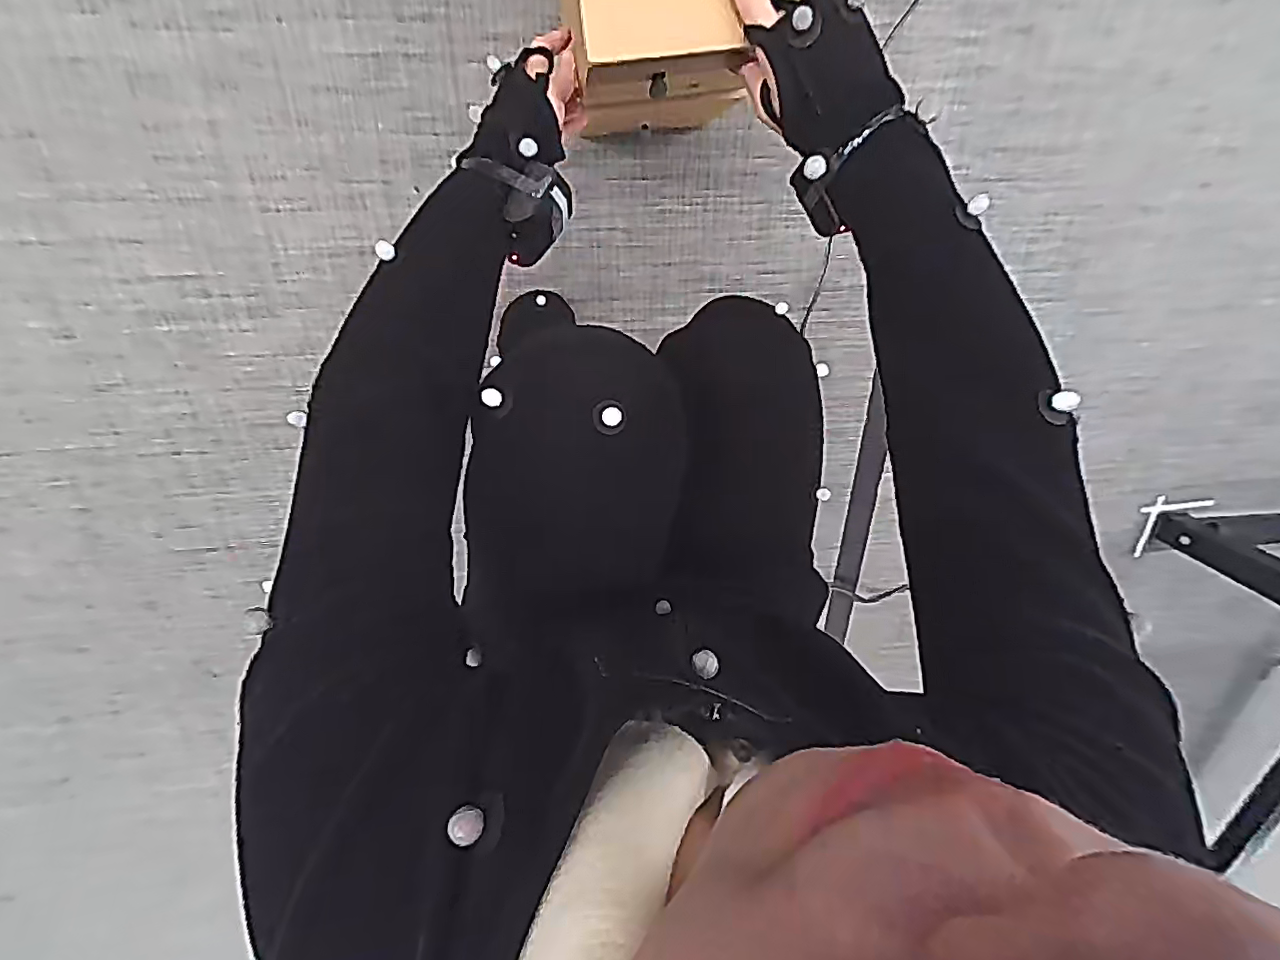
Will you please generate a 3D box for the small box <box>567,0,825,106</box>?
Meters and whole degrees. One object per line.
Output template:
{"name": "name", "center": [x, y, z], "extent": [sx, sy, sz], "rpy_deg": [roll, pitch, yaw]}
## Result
{"name": "small box", "center": [0.031, -0.402, 0.365], "extent": [0.179, 0.176, 0.168], "rpy_deg": [-7, 98, 15]}
